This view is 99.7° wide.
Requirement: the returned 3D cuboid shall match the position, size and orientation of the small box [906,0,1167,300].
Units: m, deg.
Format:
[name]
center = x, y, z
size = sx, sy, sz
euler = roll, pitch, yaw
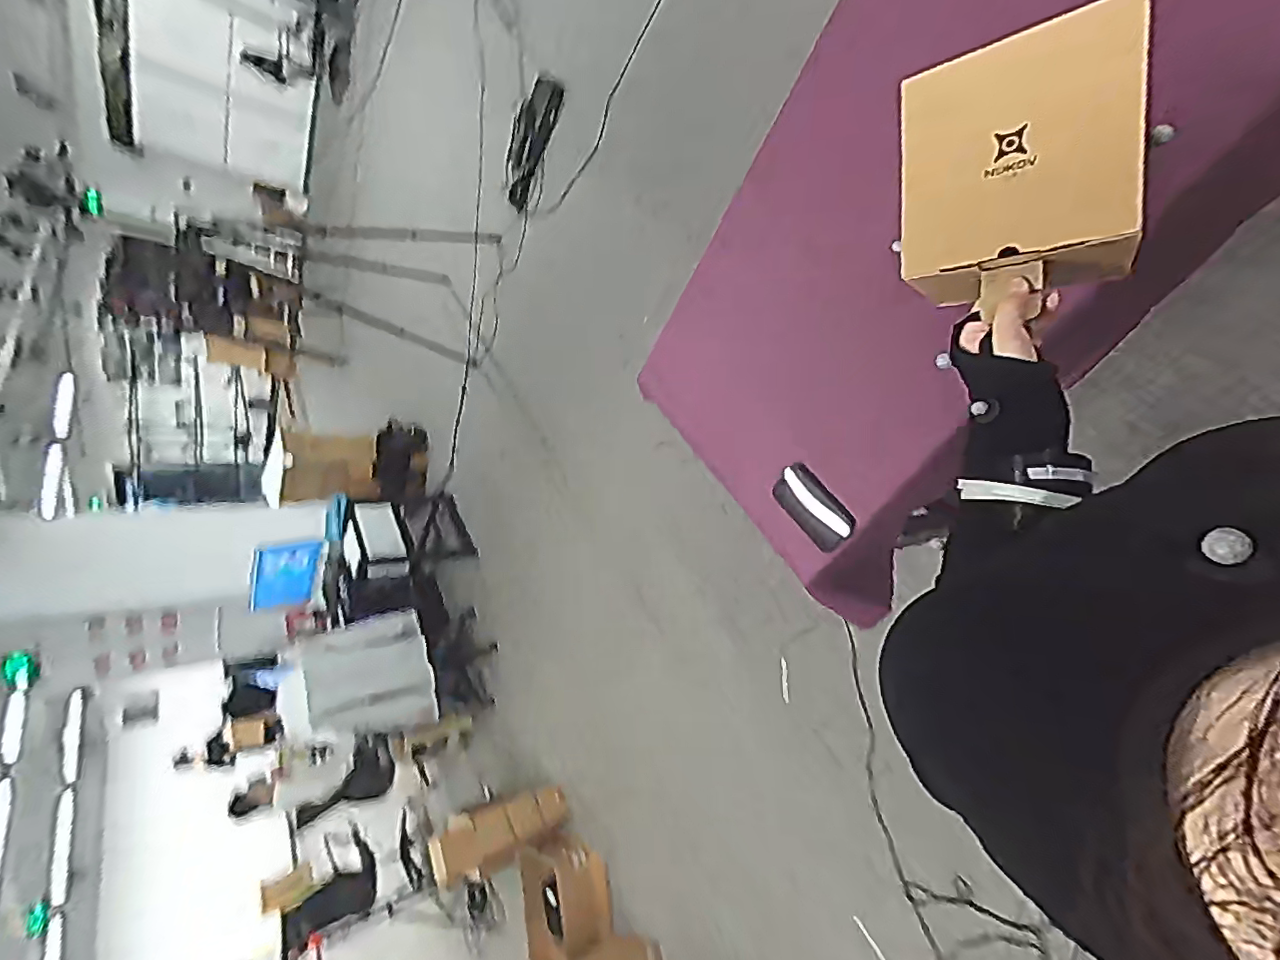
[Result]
[small box]
center = 0.358, -0.280, 0.504
size = 0.168, 0.176, 0.179
euler = 4, 100, 38
